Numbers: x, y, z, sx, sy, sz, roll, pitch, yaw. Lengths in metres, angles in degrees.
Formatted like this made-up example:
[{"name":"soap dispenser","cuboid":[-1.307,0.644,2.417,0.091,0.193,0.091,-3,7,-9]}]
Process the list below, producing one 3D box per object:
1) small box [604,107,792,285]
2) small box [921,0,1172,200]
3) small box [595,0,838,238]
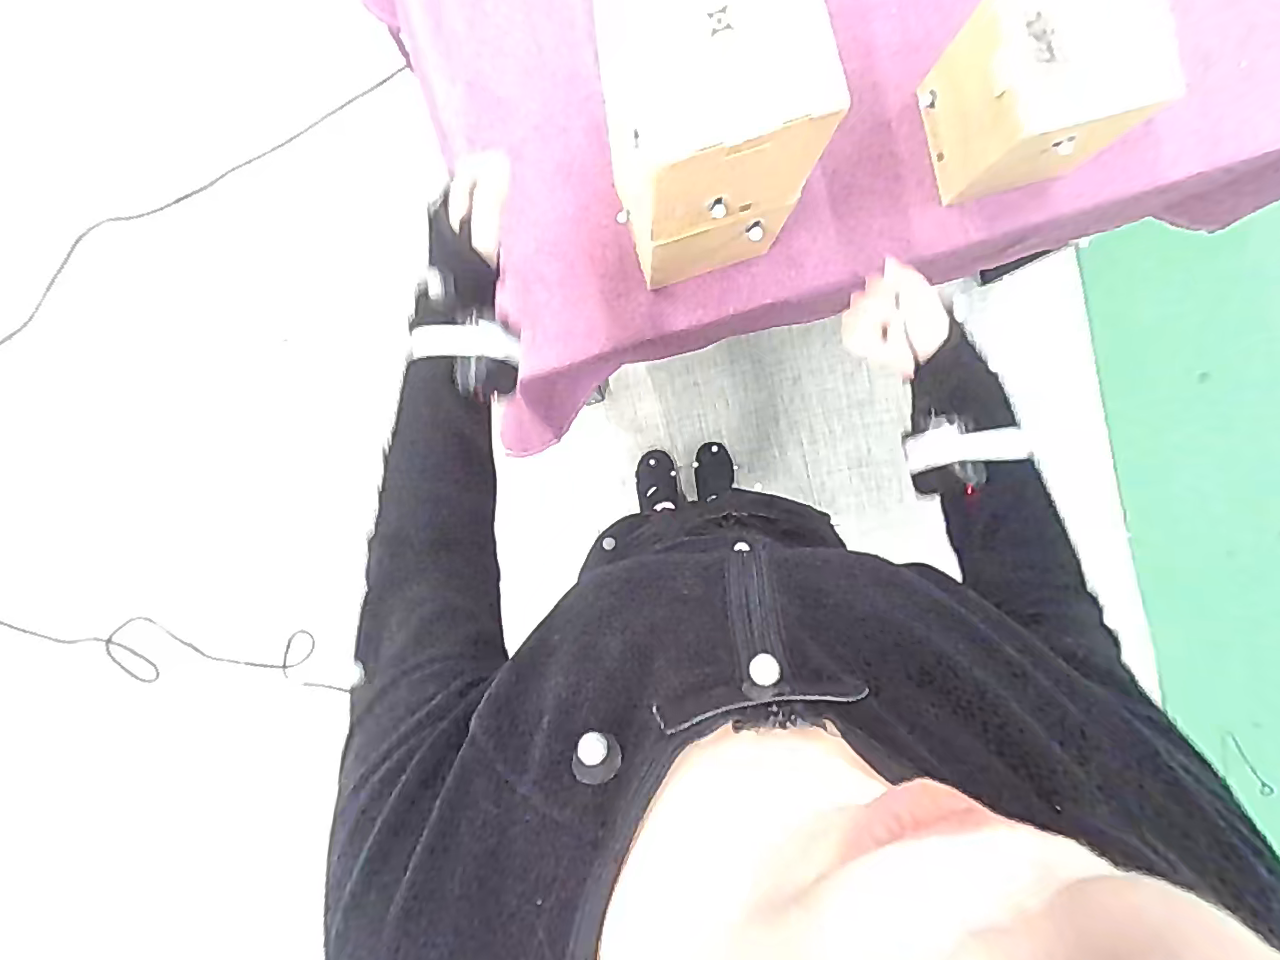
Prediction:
[{"name":"small box","cuboid":[0.064,-0.367,0.673,0.179,0.176,0.168,-17,92,2]},{"name":"small box","cuboid":[0.473,-0.475,0.662,0.179,0.176,0.168,-14,93,1]},{"name":"small box","cuboid":[0.058,-0.363,0.510,0.168,0.176,0.179,-17,94,1]}]
